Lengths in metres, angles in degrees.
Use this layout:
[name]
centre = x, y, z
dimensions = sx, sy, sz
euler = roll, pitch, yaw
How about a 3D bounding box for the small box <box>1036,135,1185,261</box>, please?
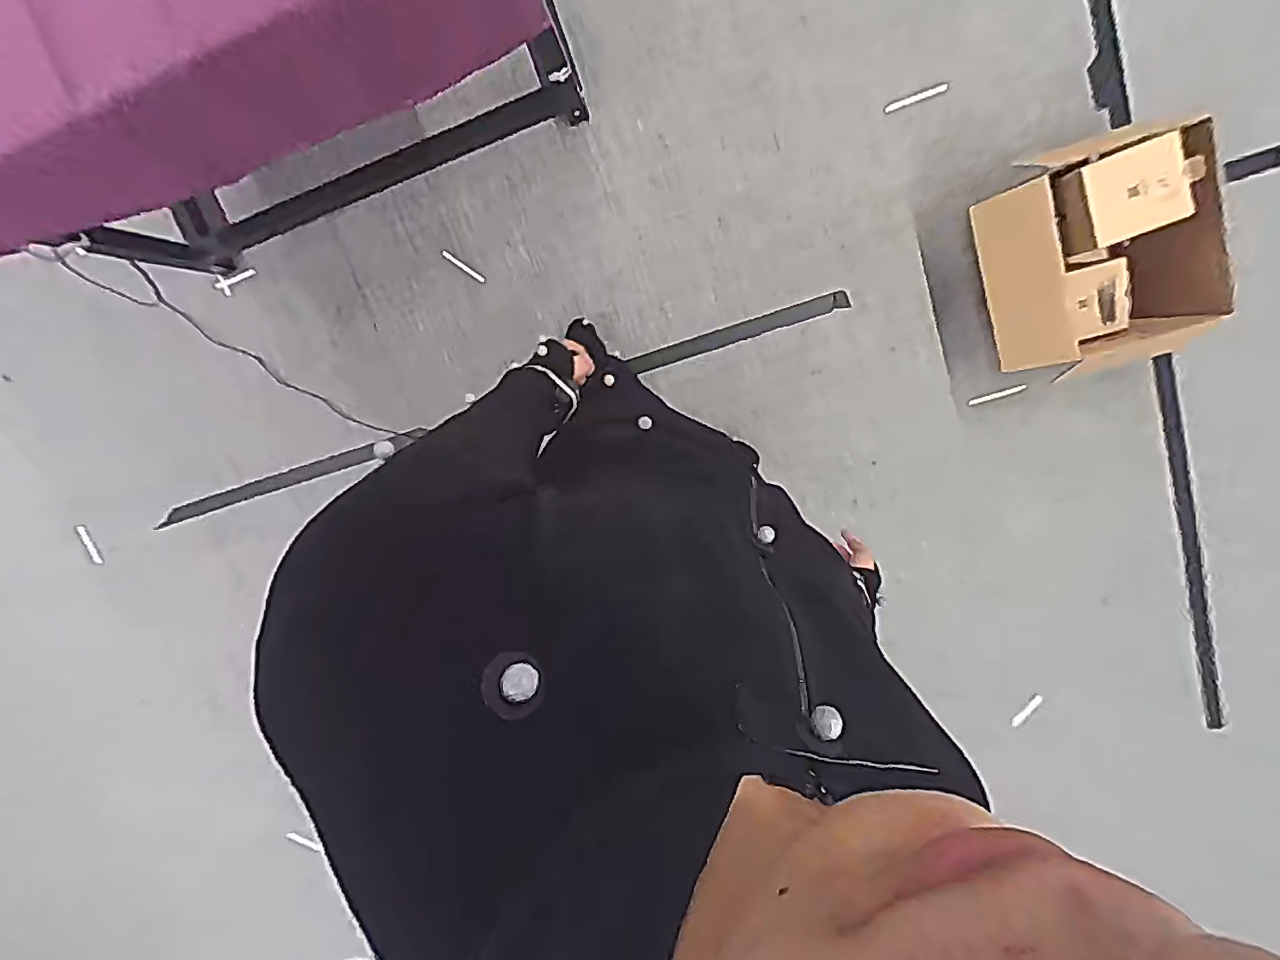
[small box]
centre = 0.987, -0.587, 1.154
dimensions = 0.179, 0.176, 0.168
euler = -19, 101, 9
